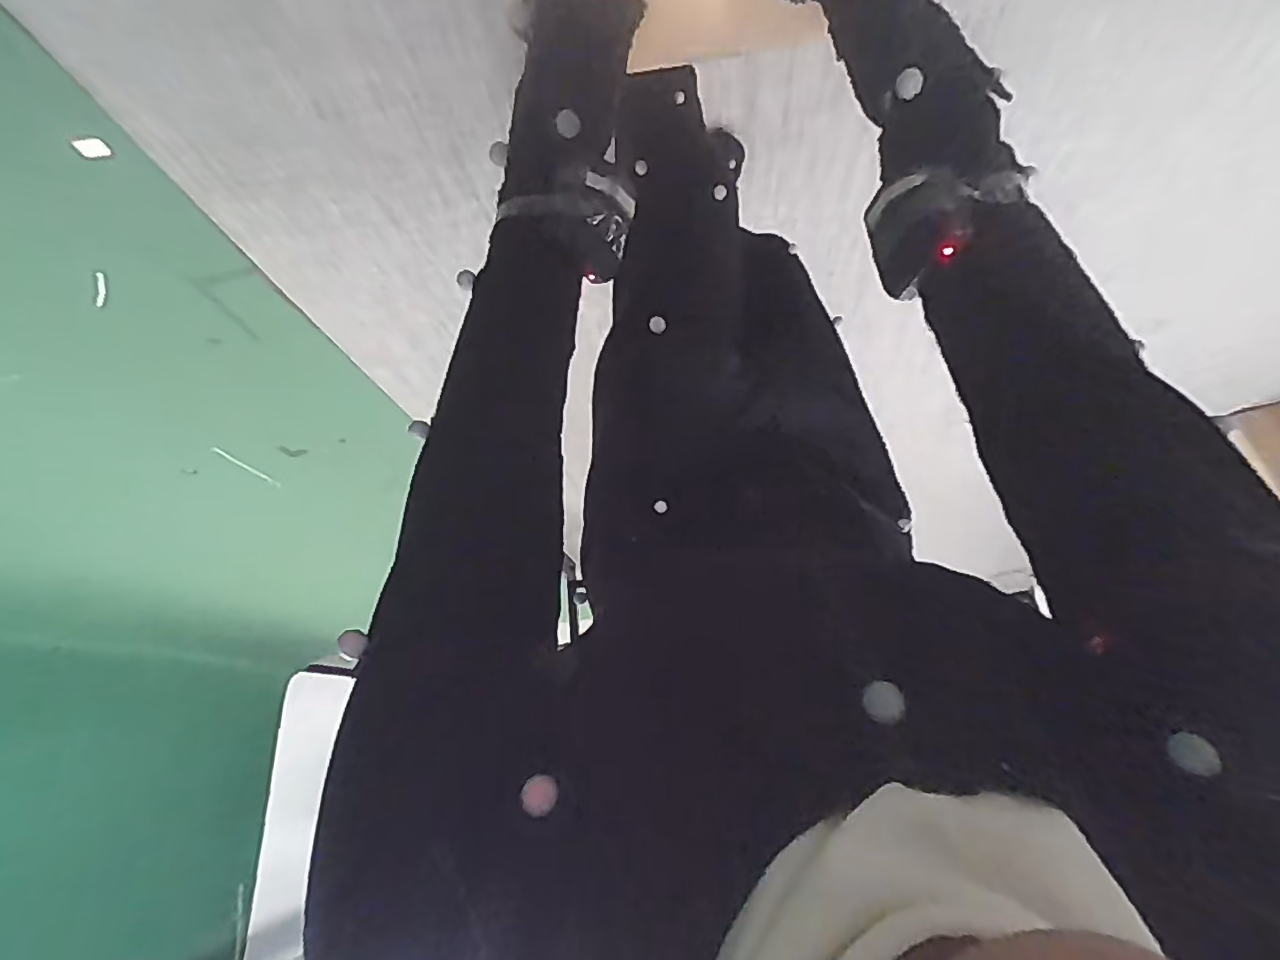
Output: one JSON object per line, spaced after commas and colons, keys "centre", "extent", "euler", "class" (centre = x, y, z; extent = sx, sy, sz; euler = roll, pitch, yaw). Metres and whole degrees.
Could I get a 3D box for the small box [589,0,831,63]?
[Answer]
{"centre": [0.044, -0.437, 0.383], "extent": [0.179, 0.176, 0.168], "euler": [-6, 151, -1], "class": "small box"}
